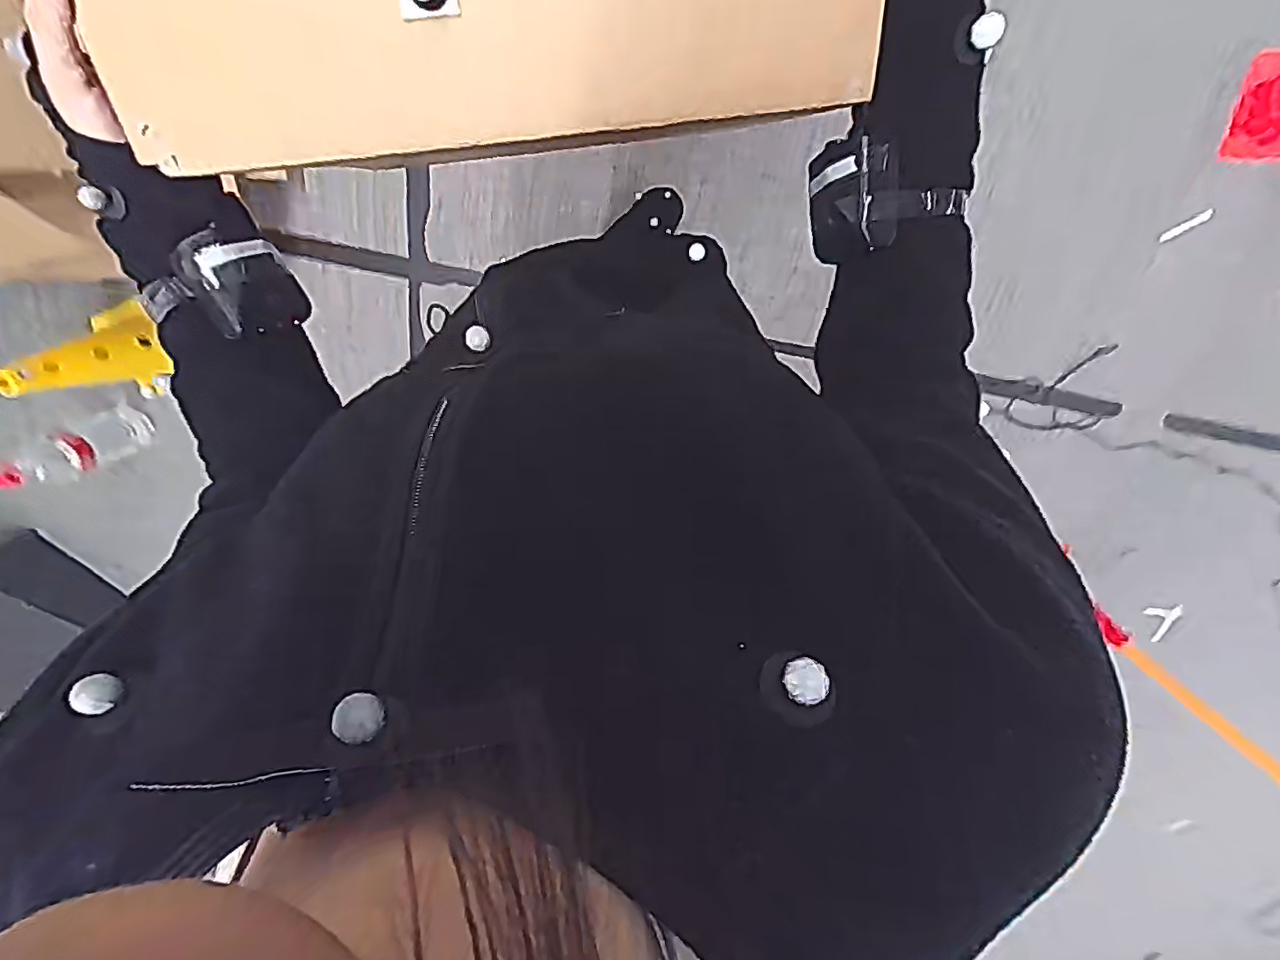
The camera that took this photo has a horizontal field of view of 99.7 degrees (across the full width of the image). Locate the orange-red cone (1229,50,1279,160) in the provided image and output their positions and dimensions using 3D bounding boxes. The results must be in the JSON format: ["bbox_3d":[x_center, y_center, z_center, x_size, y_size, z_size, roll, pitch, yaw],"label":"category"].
[{"bbox_3d":[1.409,-0.736,1.015,0.198,0.360,0.199,0,114,-3],"label":"orange-red cone"}]
